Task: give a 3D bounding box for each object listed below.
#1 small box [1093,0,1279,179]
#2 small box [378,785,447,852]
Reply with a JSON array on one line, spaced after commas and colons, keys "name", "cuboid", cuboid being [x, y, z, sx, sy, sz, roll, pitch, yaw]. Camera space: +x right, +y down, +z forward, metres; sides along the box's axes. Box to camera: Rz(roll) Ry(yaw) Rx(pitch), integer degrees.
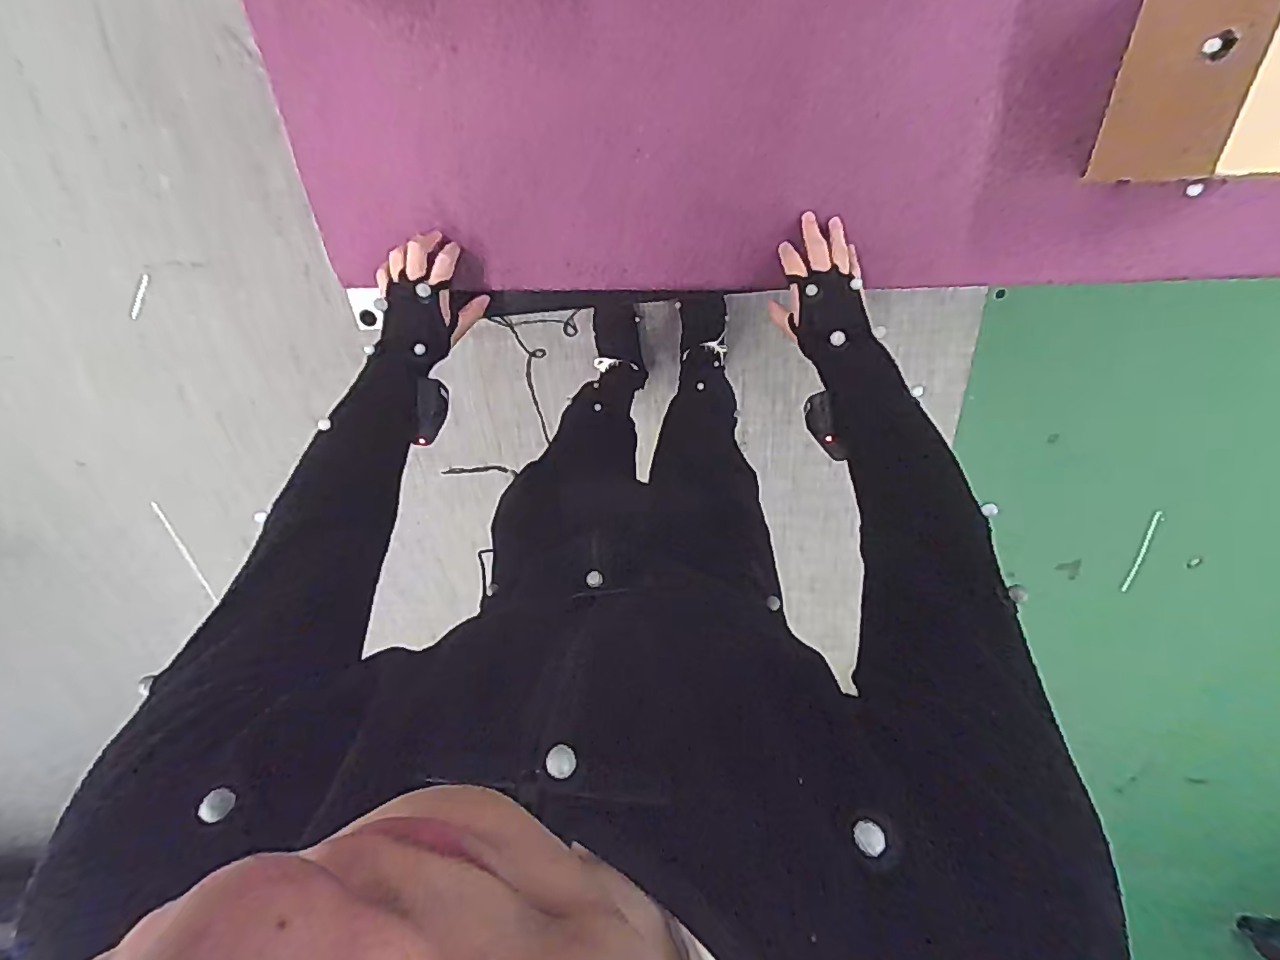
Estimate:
[{"name": "small box", "cuboid": [0.578, -0.379, 0.496, 0.168, 0.176, 0.179, 2, 120, 2]}, {"name": "small box", "cuboid": [-0.829, 1.262, 1.982, 0.168, 0.176, 0.179, 23, 116, -12]}]
